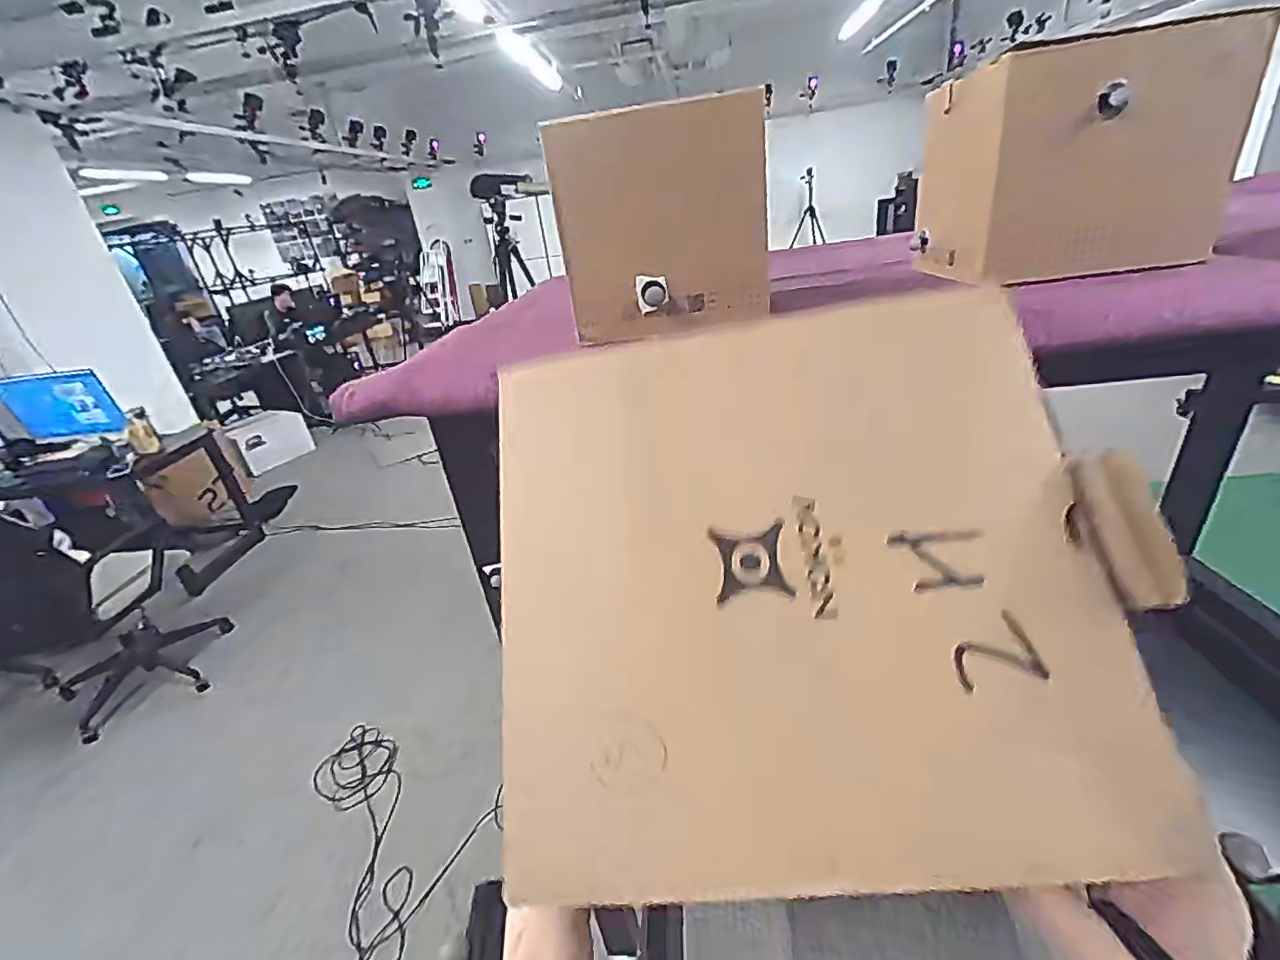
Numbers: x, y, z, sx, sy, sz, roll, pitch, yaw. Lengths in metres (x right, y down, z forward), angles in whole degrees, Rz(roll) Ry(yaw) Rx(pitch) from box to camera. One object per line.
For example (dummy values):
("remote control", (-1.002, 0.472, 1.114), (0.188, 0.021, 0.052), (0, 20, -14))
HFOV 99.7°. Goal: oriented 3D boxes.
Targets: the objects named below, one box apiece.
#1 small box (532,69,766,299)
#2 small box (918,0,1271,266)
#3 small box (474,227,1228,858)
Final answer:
("small box", (0.015, -0.239, 0.487), (0.168, 0.176, 0.179), (-7, 28, 4))
("small box", (0.363, -0.287, 0.475), (0.179, 0.176, 0.168), (-4, 26, 7))
("small box", (0.049, 0.034, 0.227), (0.179, 0.176, 0.168), (-8, 72, 7))
